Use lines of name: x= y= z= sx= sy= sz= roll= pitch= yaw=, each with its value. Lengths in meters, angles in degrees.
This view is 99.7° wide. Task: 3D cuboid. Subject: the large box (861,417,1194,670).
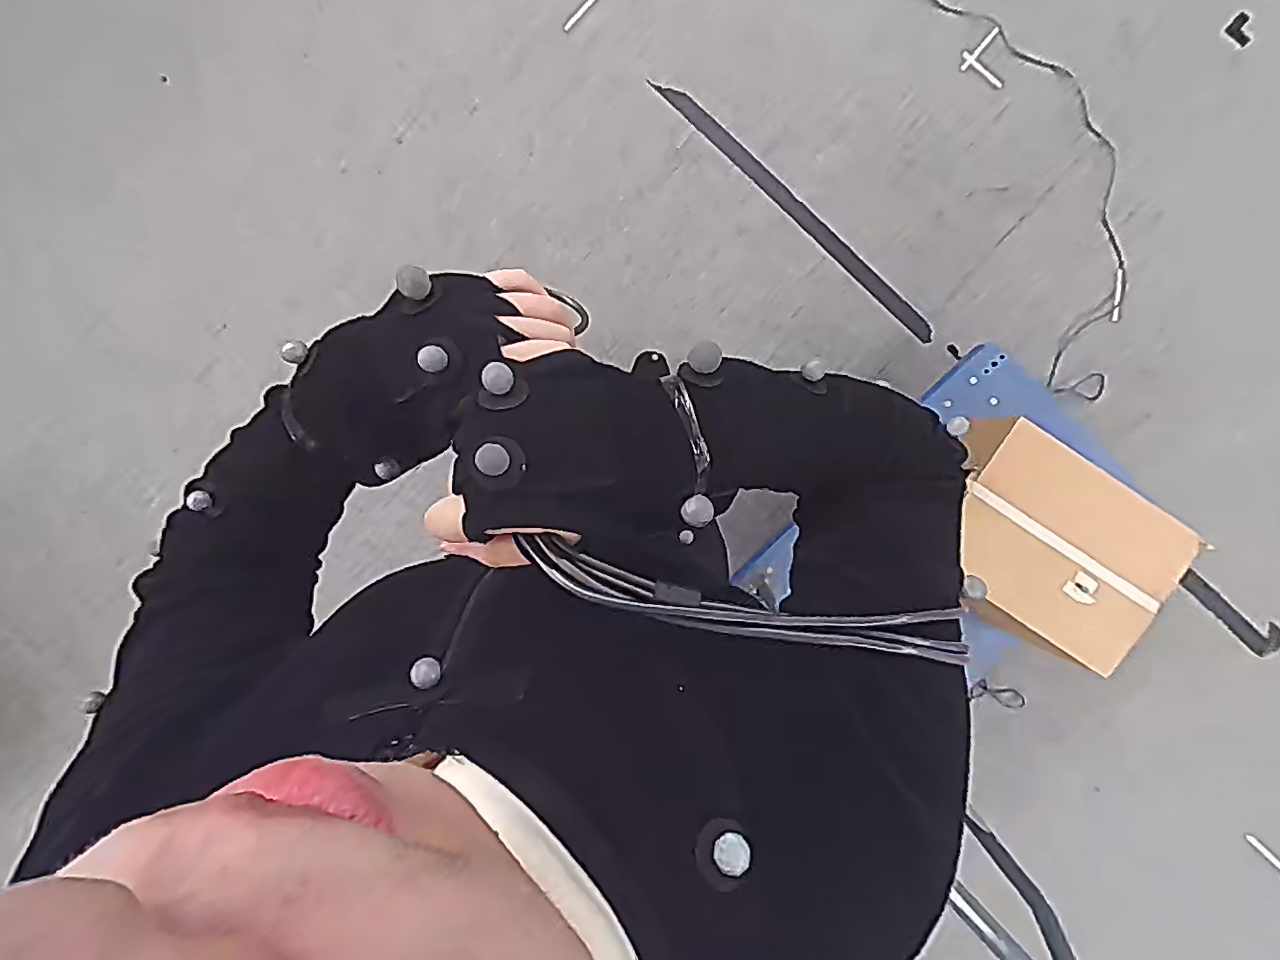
large box: x=0.762 y=0.114 z=1.135 sx=0.408 sy=0.320 sz=0.320 roll=35 pitch=93 yaw=1
